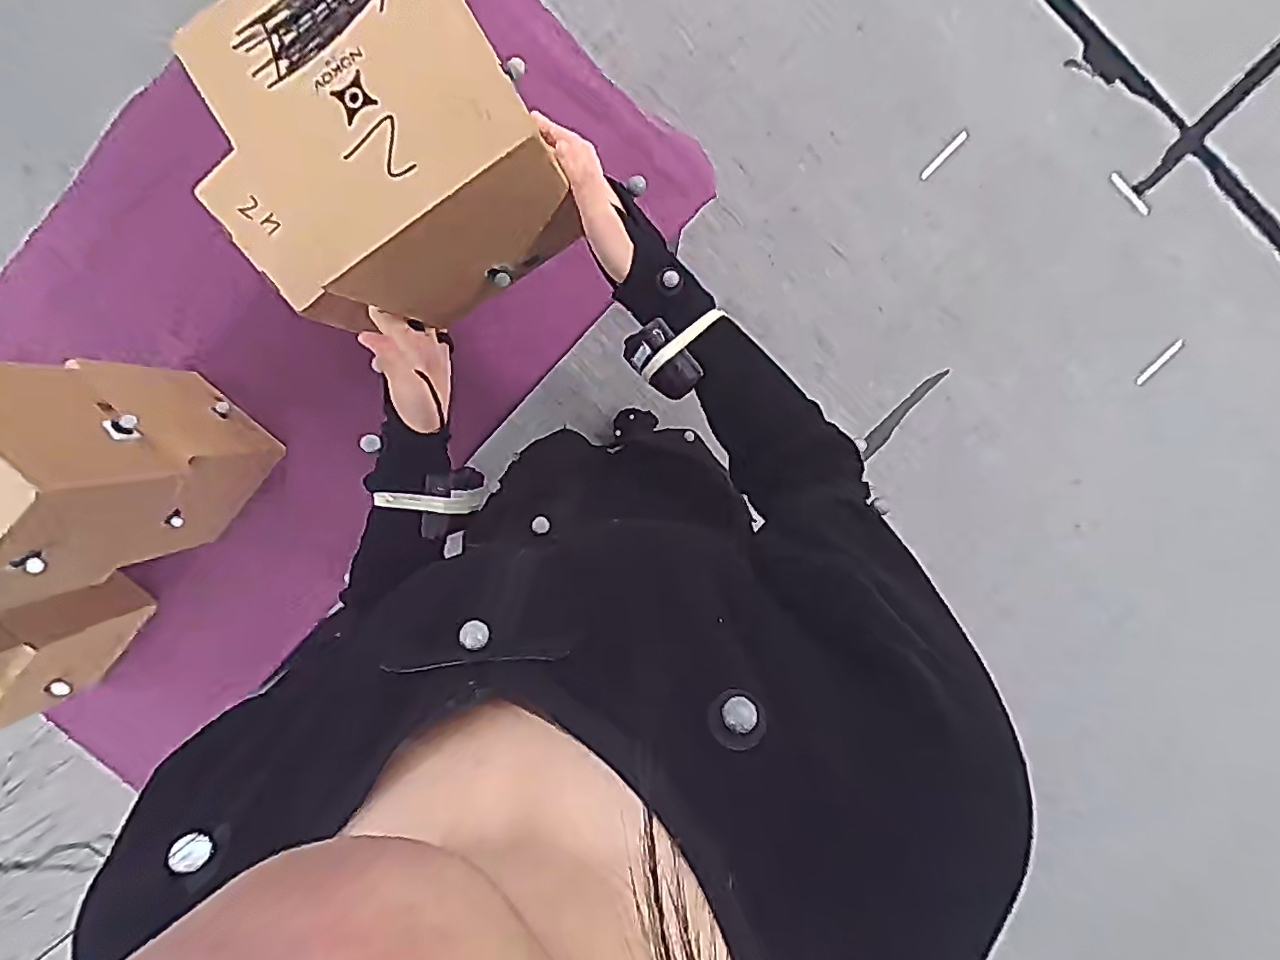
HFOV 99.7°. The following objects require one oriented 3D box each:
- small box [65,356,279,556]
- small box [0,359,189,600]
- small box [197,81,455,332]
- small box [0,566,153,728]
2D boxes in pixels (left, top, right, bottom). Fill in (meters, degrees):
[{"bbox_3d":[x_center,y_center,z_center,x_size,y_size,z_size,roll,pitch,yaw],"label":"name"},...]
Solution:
[{"bbox_3d":[-0.609,-0.026,0.676,0.168,0.176,0.179,42,94,-4],"label":"small box"},{"bbox_3d":[-0.601,0.002,0.516,0.168,0.176,0.179,44,94,-6],"label":"small box"},{"bbox_3d":[-0.346,-0.302,0.642,0.179,0.176,0.168,-39,94,5],"label":"small box"},{"bbox_3d":[-0.808,0.190,0.702,0.179,0.176,0.168,40,95,-3],"label":"small box"}]
